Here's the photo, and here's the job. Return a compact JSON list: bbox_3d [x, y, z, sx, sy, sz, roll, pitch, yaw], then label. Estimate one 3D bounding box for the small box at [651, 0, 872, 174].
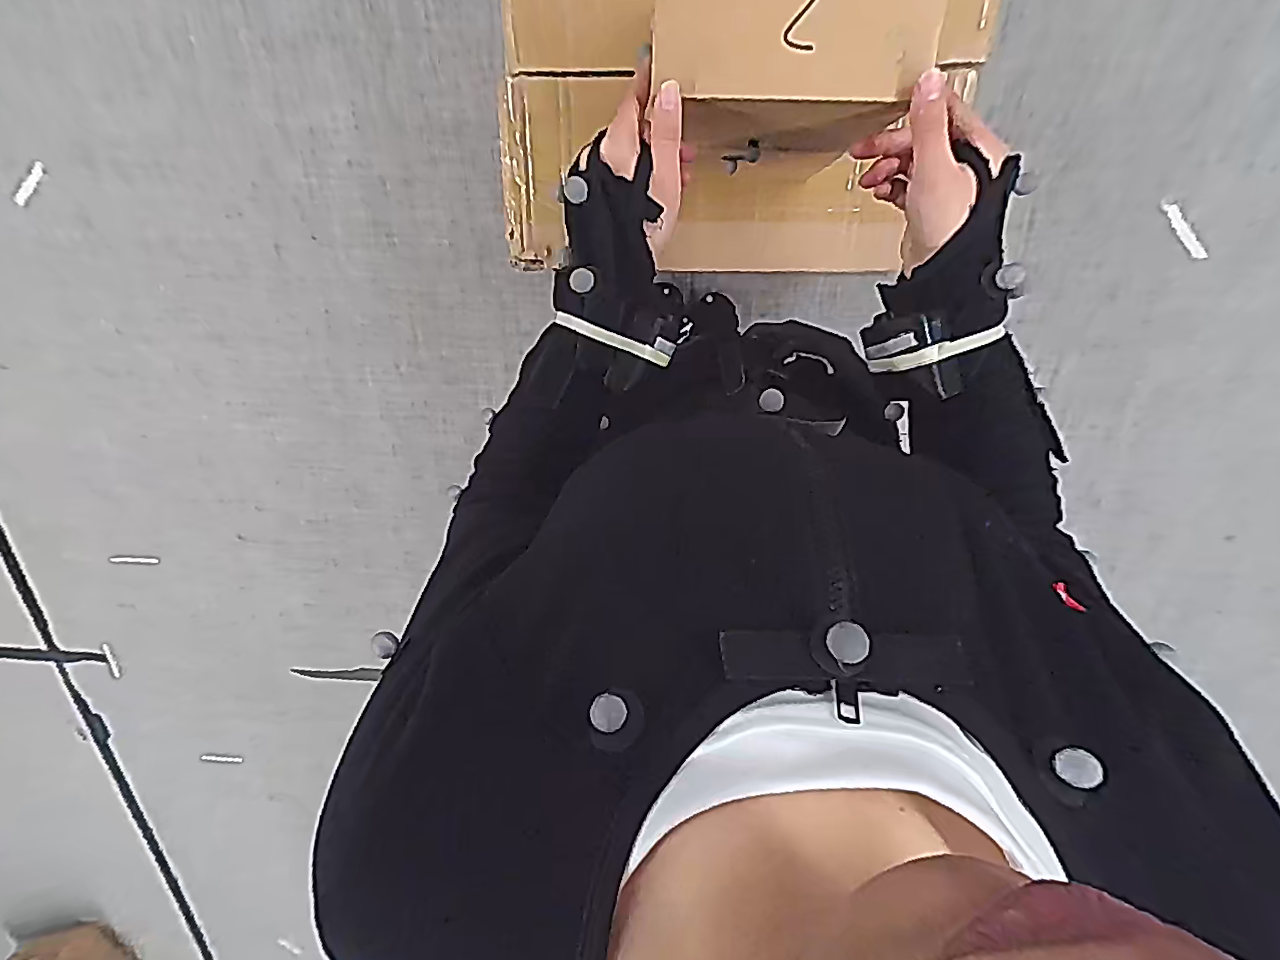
[{"bbox_3d":[0.105,-0.400,0.518,0.179,0.176,0.168,3,112,3],"label":"small box"}]
